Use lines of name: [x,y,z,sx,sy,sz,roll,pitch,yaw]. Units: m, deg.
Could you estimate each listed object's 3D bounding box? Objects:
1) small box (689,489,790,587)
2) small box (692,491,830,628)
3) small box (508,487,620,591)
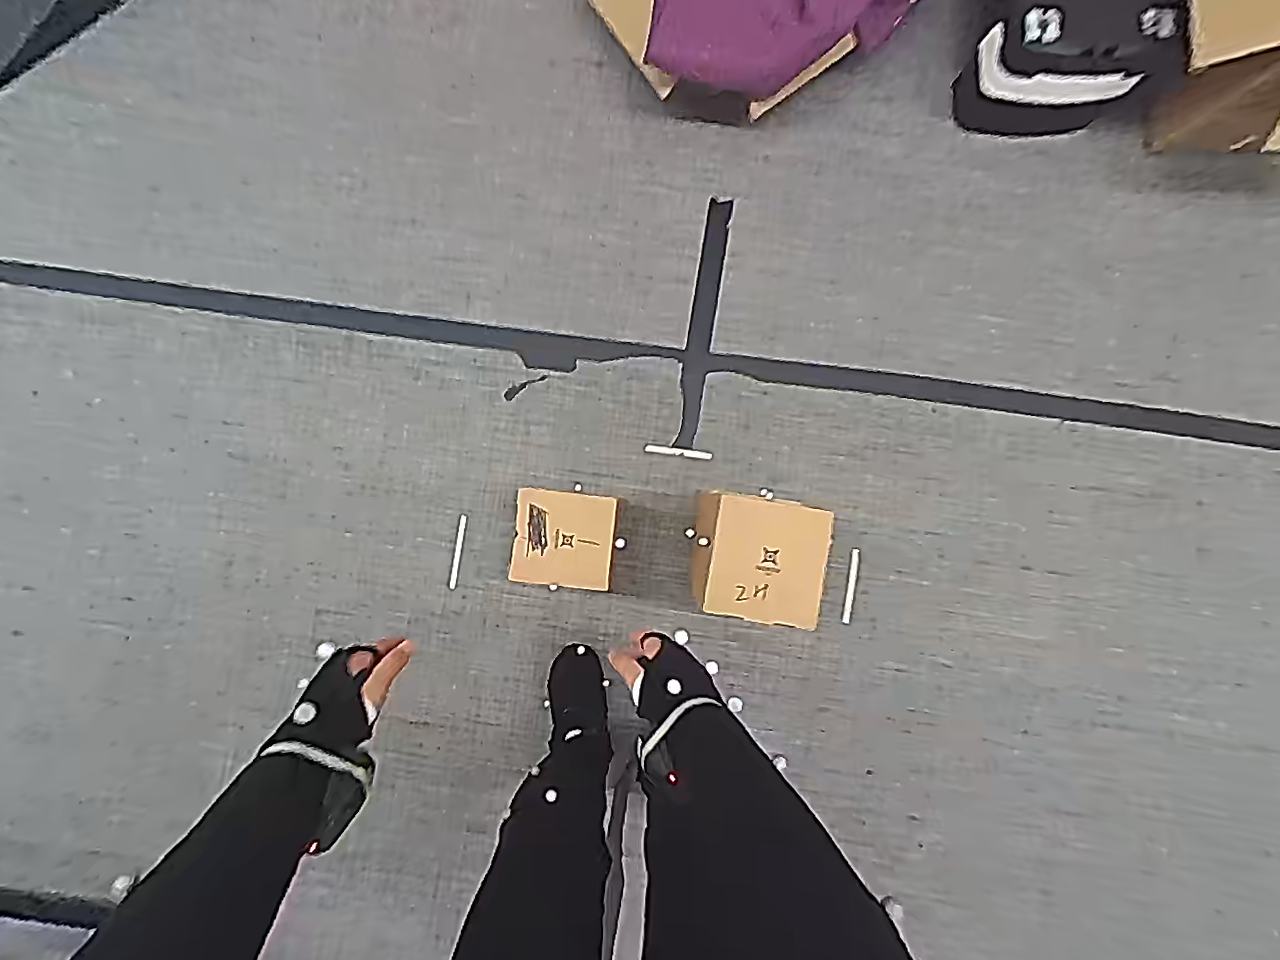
small box: [0.186,0.114,1.020,0.168,0.176,0.179,8,89,1]
small box: [0.180,0.116,0.854,0.168,0.176,0.179,9,89,1]
small box: [-0.135,0.105,1.020,0.179,0.176,0.168,6,89,0]
